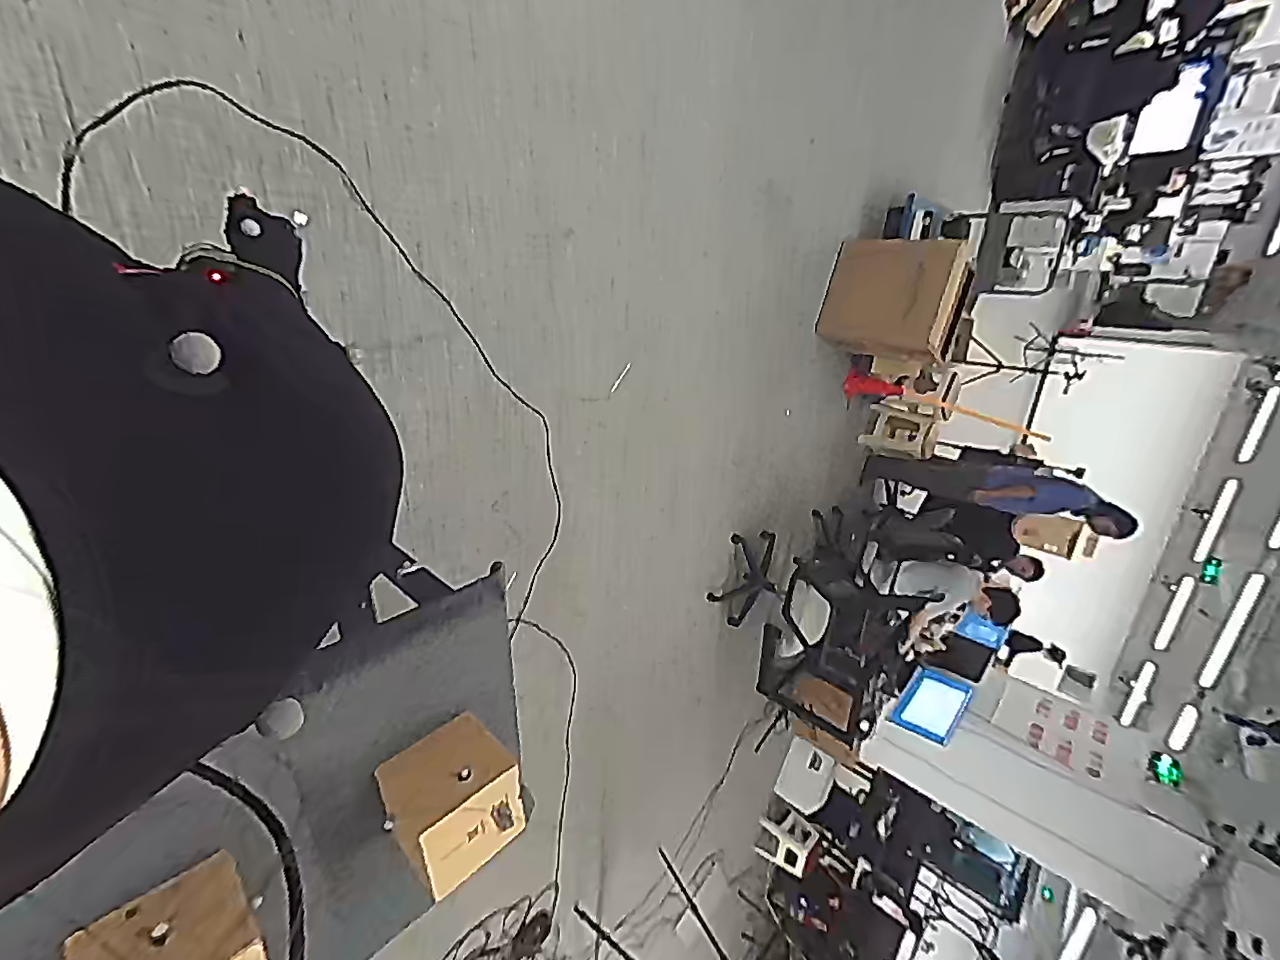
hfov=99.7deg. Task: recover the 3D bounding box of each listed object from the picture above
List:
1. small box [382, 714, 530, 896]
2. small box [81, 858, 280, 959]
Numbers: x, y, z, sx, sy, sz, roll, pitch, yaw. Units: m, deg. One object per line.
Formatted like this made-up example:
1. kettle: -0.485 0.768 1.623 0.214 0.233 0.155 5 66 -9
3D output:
1. small box: -0.319 0.551 0.945 0.179 0.176 0.168 -23 122 -40
2. small box: -0.574 0.635 0.690 0.168 0.176 0.179 -18 118 -44
